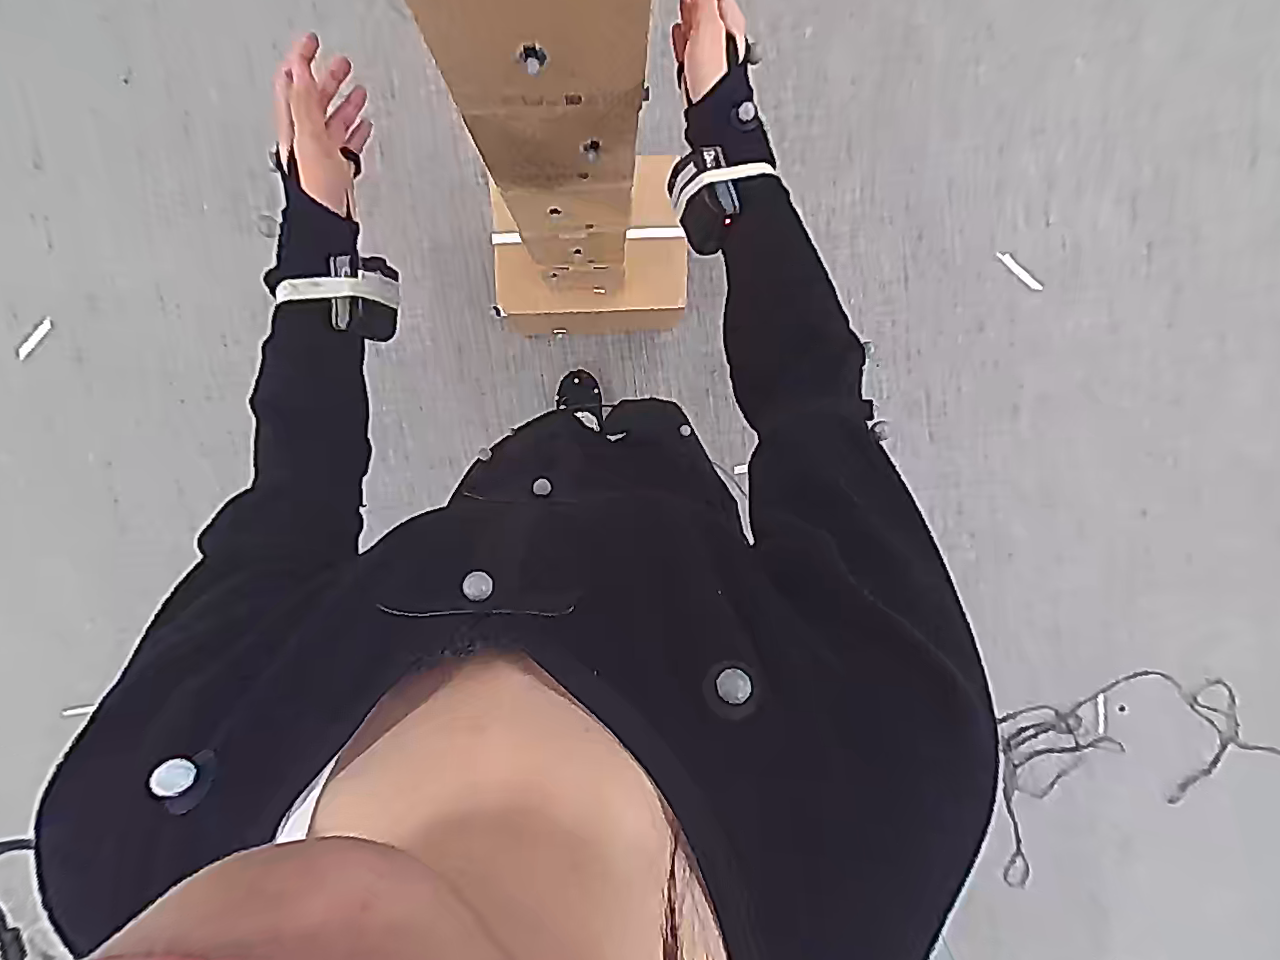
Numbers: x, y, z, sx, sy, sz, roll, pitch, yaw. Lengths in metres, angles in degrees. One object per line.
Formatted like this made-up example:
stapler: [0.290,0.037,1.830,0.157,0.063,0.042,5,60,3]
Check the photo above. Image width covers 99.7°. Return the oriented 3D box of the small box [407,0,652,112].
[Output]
small box: [-0.076,-0.405,0.400,0.168,0.176,0.179,-3,96,-3]

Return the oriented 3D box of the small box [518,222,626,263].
small box: [-0.106,-0.463,0.885,0.168,0.176,0.179,-2,97,-3]

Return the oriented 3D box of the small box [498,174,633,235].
small box: [-0.096,-0.442,0.724,0.168,0.176,0.179,-4,96,-2]

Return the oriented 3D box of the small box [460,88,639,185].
small box: [-0.090,-0.429,0.563,0.168,0.176,0.179,-5,95,-3]
